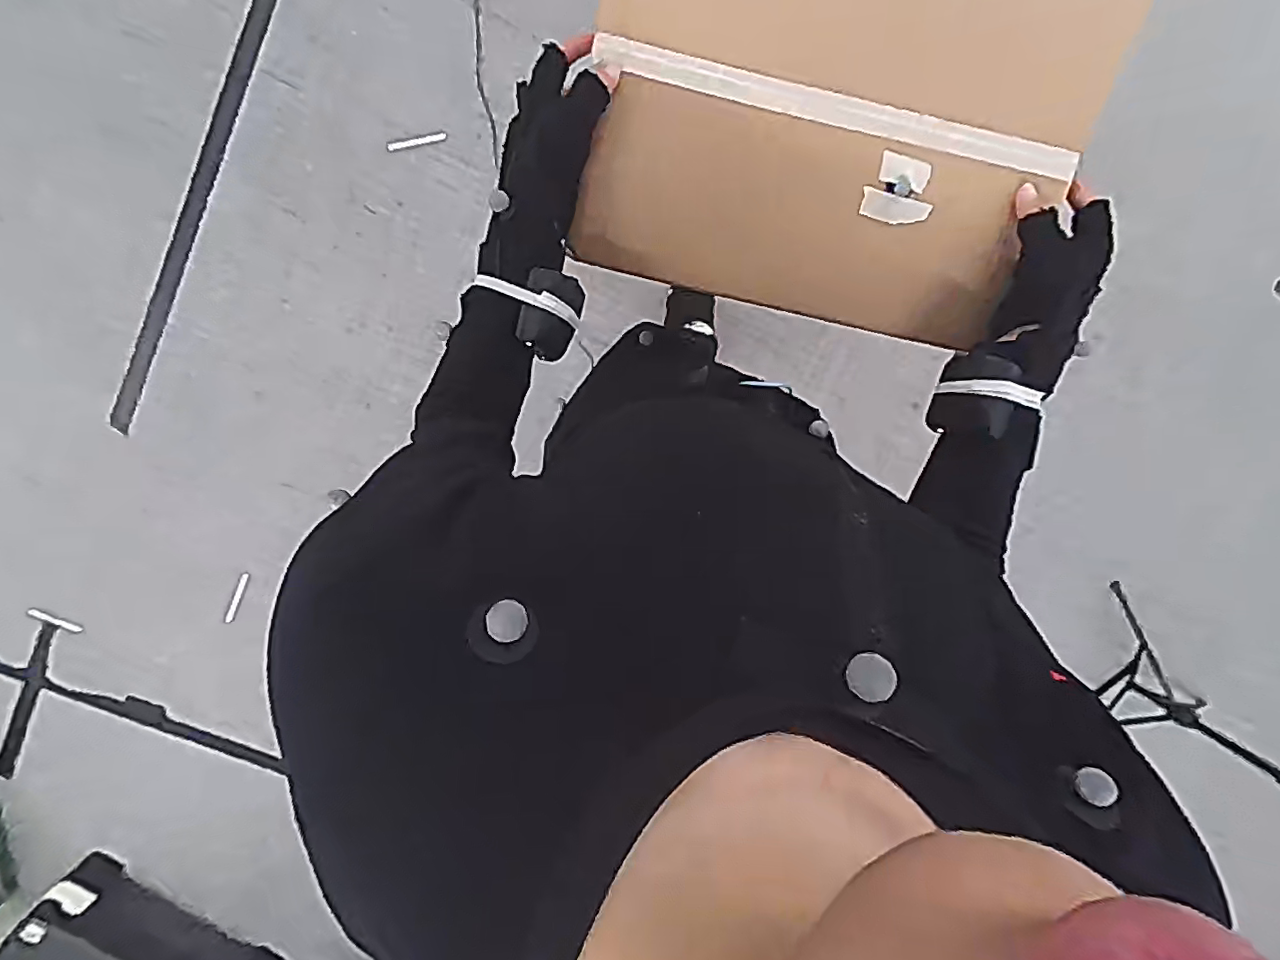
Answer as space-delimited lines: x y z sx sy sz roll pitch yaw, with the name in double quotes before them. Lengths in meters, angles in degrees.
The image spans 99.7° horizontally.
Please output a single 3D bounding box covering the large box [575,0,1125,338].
"large box" 0.163 -0.367 0.591 0.408 0.320 0.320 12 113 -4
